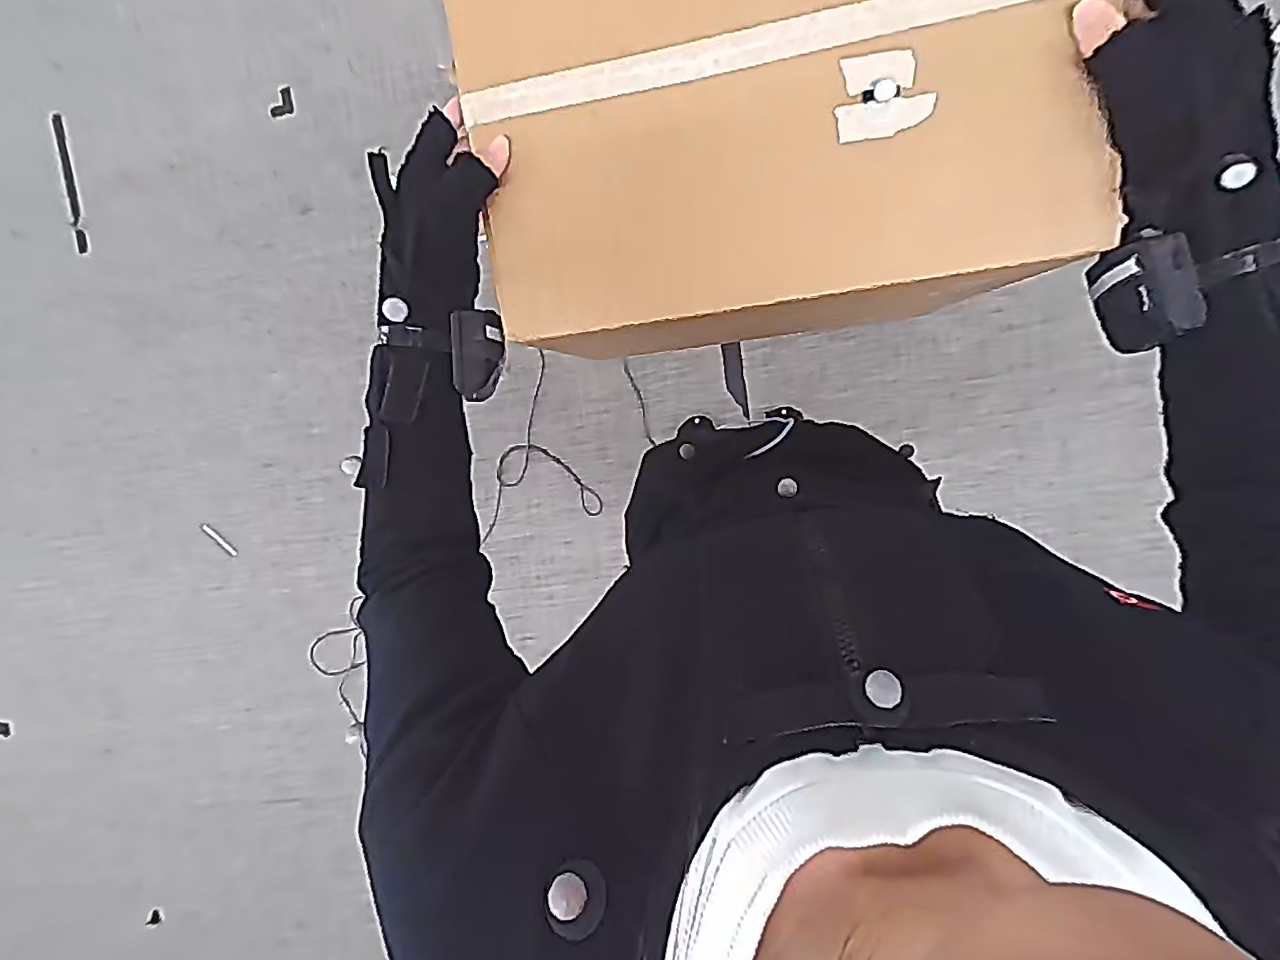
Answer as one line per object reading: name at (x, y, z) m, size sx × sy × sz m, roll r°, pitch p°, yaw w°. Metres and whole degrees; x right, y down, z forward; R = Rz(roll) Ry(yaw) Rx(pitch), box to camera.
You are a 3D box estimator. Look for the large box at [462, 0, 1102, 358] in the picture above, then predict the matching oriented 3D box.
large box at (0.098, -0.307, 0.501) m, size 0.408 × 0.320 × 0.320 m, roll -7°, pitch 99°, yaw 7°
